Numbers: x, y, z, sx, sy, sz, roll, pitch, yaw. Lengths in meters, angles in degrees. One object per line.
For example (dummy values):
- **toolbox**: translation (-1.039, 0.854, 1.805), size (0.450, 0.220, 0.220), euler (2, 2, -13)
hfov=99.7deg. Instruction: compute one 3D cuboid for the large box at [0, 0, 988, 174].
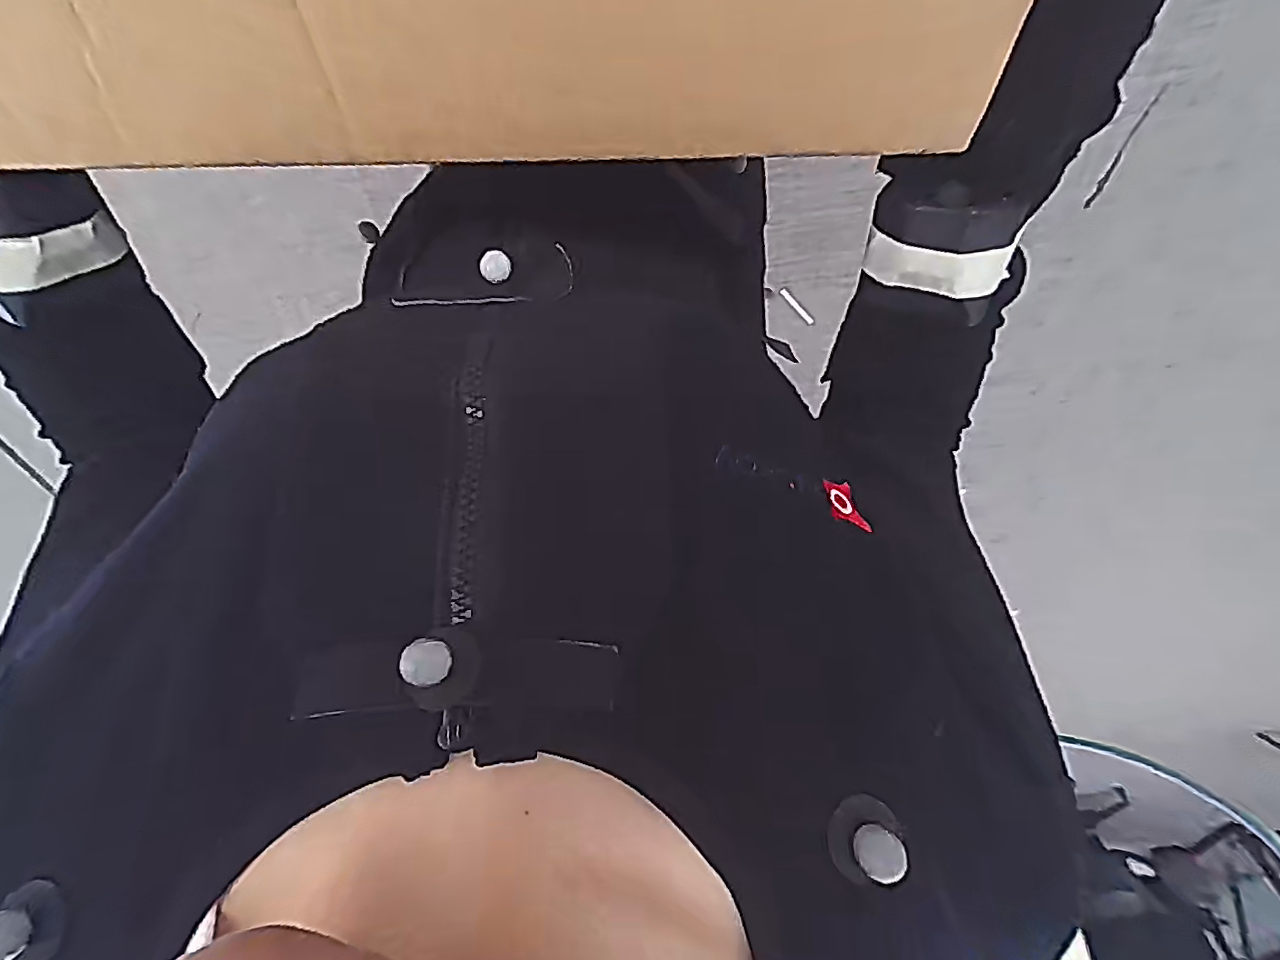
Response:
- **large box**: translation (-0.081, -0.345, 0.191), size (0.408, 0.320, 0.320), euler (-2, 142, 0)
